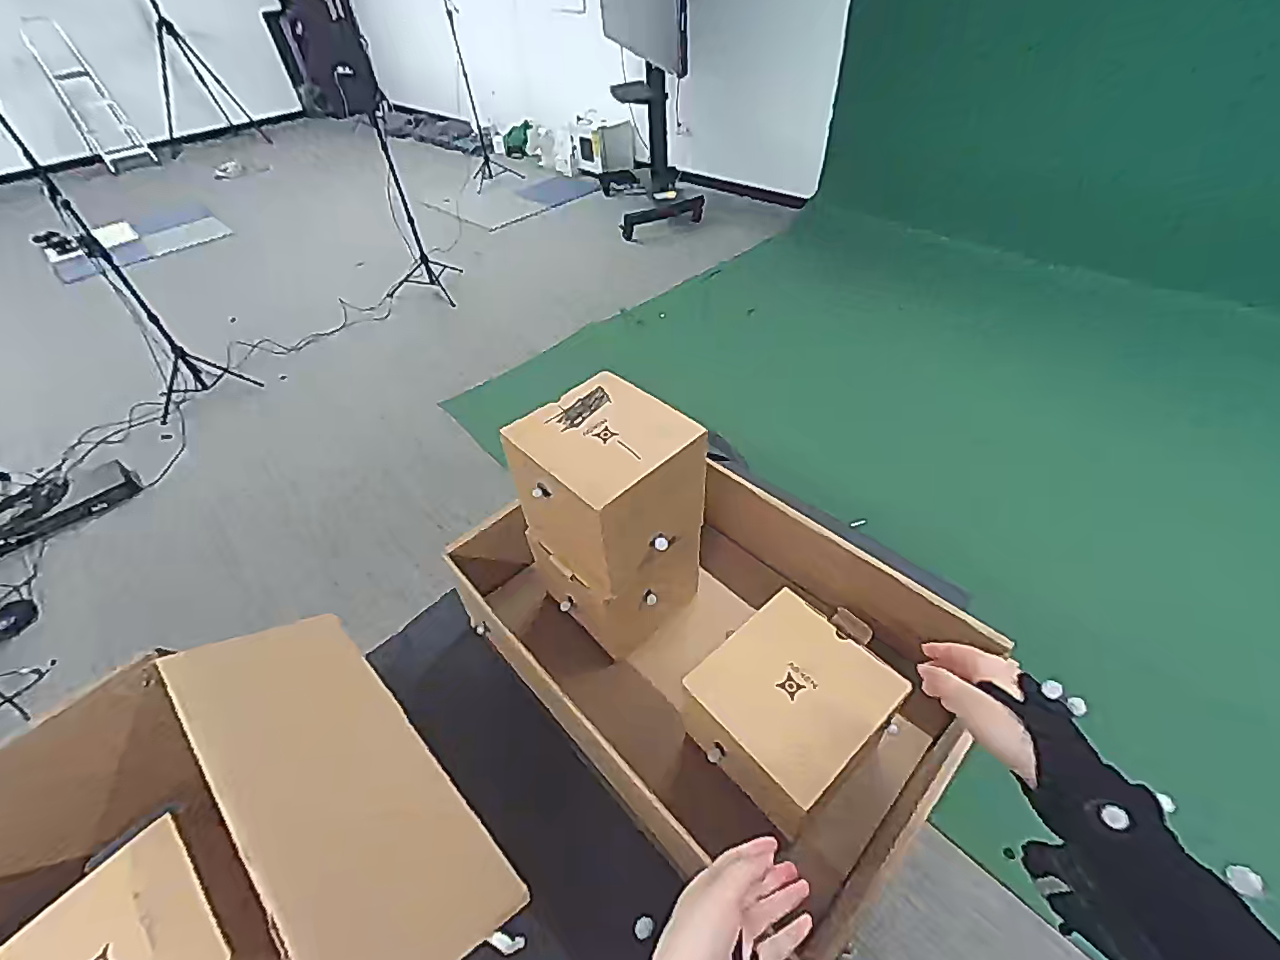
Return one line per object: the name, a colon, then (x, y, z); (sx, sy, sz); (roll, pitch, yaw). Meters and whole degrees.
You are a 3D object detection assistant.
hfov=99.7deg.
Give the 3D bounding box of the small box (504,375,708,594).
small box: (-0.038, 0.005, 0.664); (0.168, 0.176, 0.179); (-36, 55, -27)
